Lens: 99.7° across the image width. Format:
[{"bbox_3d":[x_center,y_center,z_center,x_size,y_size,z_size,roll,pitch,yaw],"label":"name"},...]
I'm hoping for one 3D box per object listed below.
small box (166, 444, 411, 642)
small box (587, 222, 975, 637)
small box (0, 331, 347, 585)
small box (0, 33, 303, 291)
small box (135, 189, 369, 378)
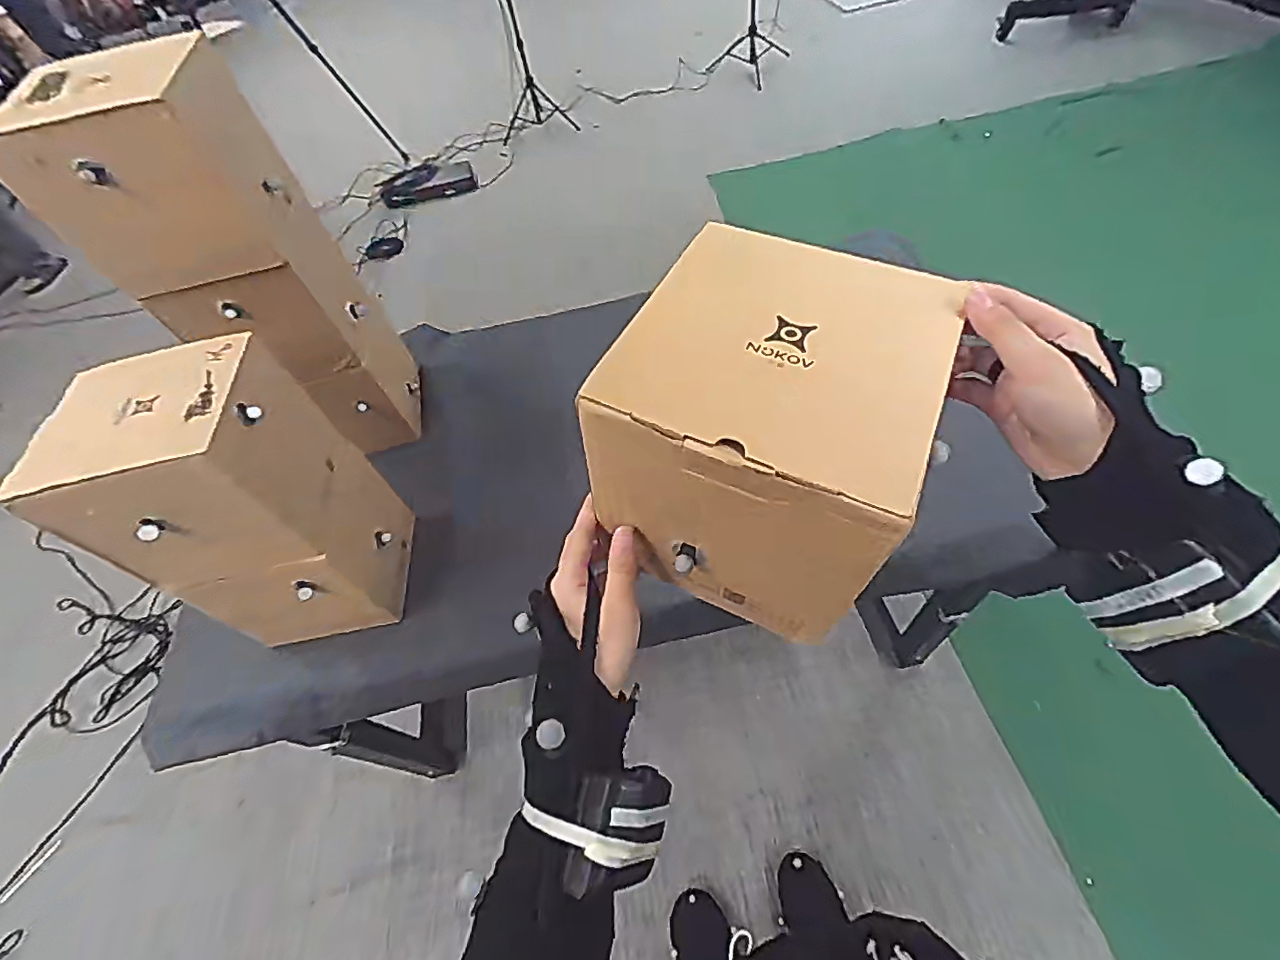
[{"bbox_3d":[-0.408,0.083,0.670,0.179,0.176,0.168,-11,52,1],"label":"small box"},{"bbox_3d":[0.083,-0.029,0.354,0.168,0.176,0.179,22,59,16],"label":"small box"},{"bbox_3d":[-0.434,-0.015,0.542,0.179,0.176,0.168,-15,53,-1],"label":"small box"},{"bbox_3d":[-0.502,-0.326,0.571,0.179,0.176,0.168,-14,57,-2],"label":"small box"},{"bbox_3d":[-0.488,-0.242,0.712,0.179,0.176,0.168,-15,57,-3],"label":"small box"}]
